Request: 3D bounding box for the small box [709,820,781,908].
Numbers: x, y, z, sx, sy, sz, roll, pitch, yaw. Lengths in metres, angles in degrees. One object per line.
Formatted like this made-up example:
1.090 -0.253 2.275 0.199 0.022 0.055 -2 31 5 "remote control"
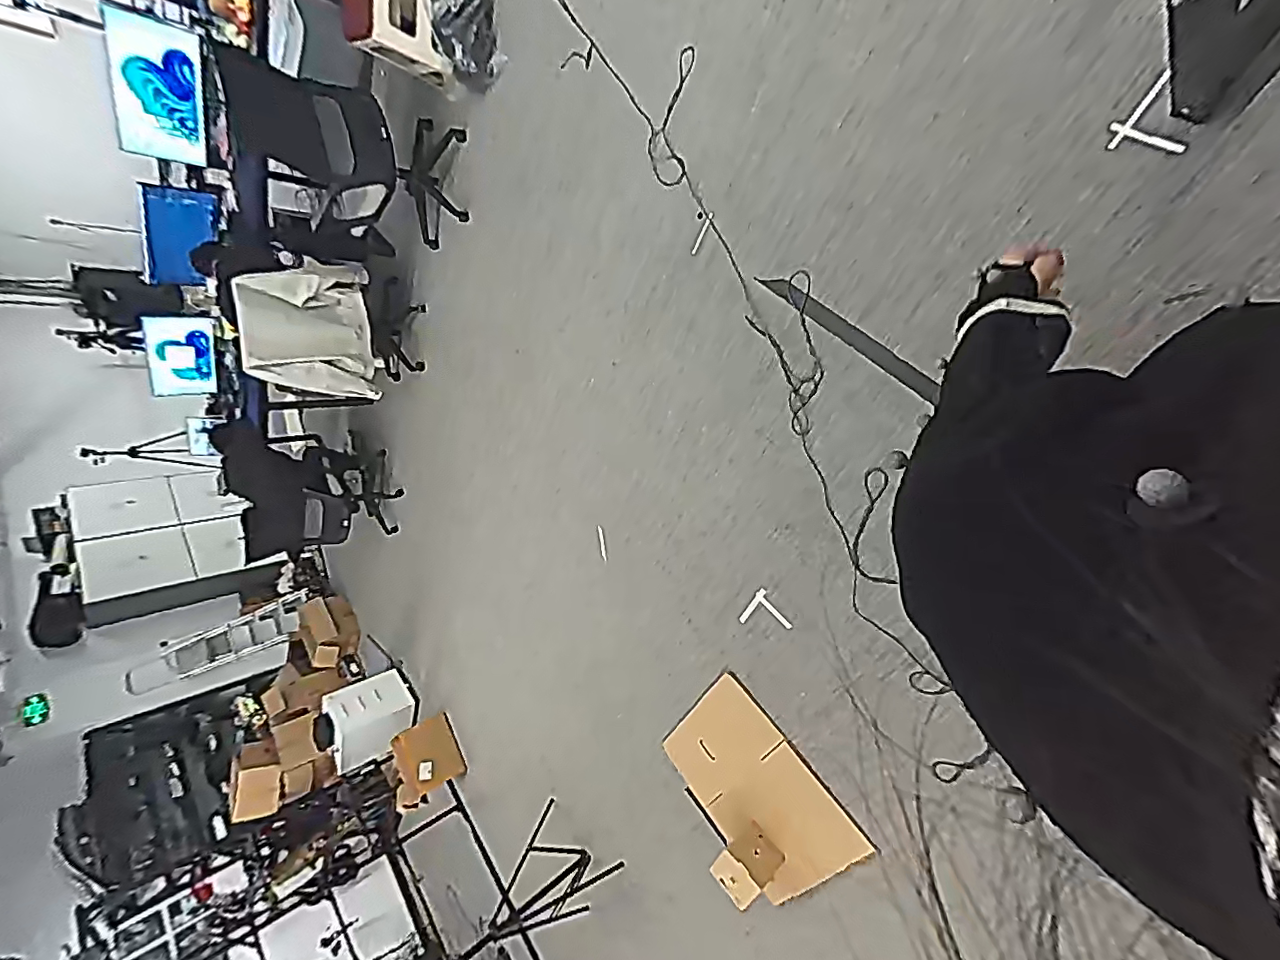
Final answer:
0.389 1.396 1.976 0.168 0.176 0.179 41 125 31 "small box"
